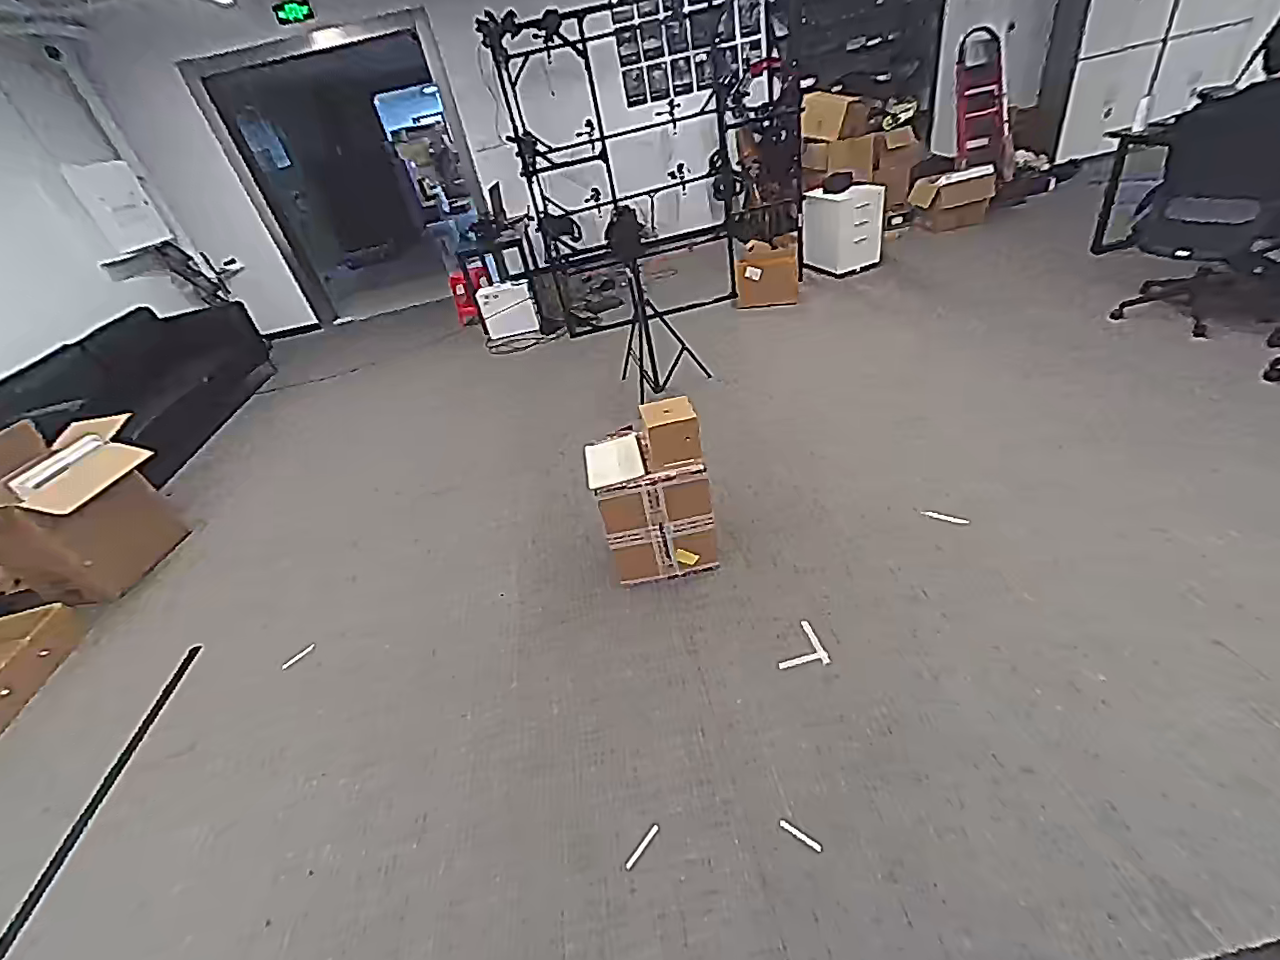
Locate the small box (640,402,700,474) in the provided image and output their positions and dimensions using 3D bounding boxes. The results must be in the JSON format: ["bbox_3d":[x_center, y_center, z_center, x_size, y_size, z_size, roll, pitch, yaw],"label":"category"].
[{"bbox_3d":[0.107,-0.143,1.880,0.179,0.176,0.168,-14,36,-3],"label":"small box"}]
